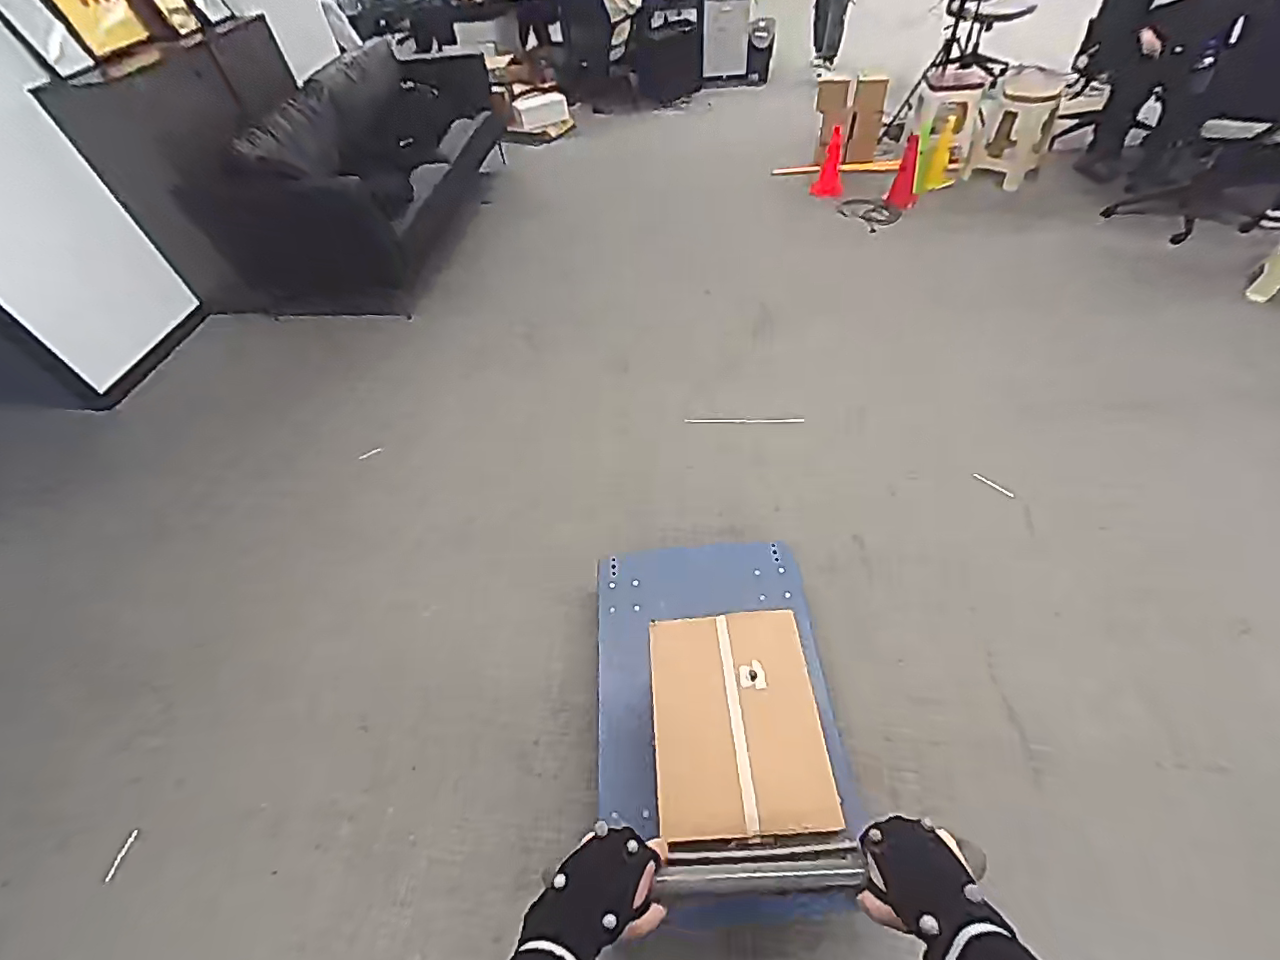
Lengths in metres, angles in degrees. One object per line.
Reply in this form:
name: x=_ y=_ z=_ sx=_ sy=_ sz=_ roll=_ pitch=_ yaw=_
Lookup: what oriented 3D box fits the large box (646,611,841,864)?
large box: x=0.194 y=0.548 z=1.157 sx=0.320 sy=0.320 sz=0.408 roll=-6 pitch=48 yaw=2
